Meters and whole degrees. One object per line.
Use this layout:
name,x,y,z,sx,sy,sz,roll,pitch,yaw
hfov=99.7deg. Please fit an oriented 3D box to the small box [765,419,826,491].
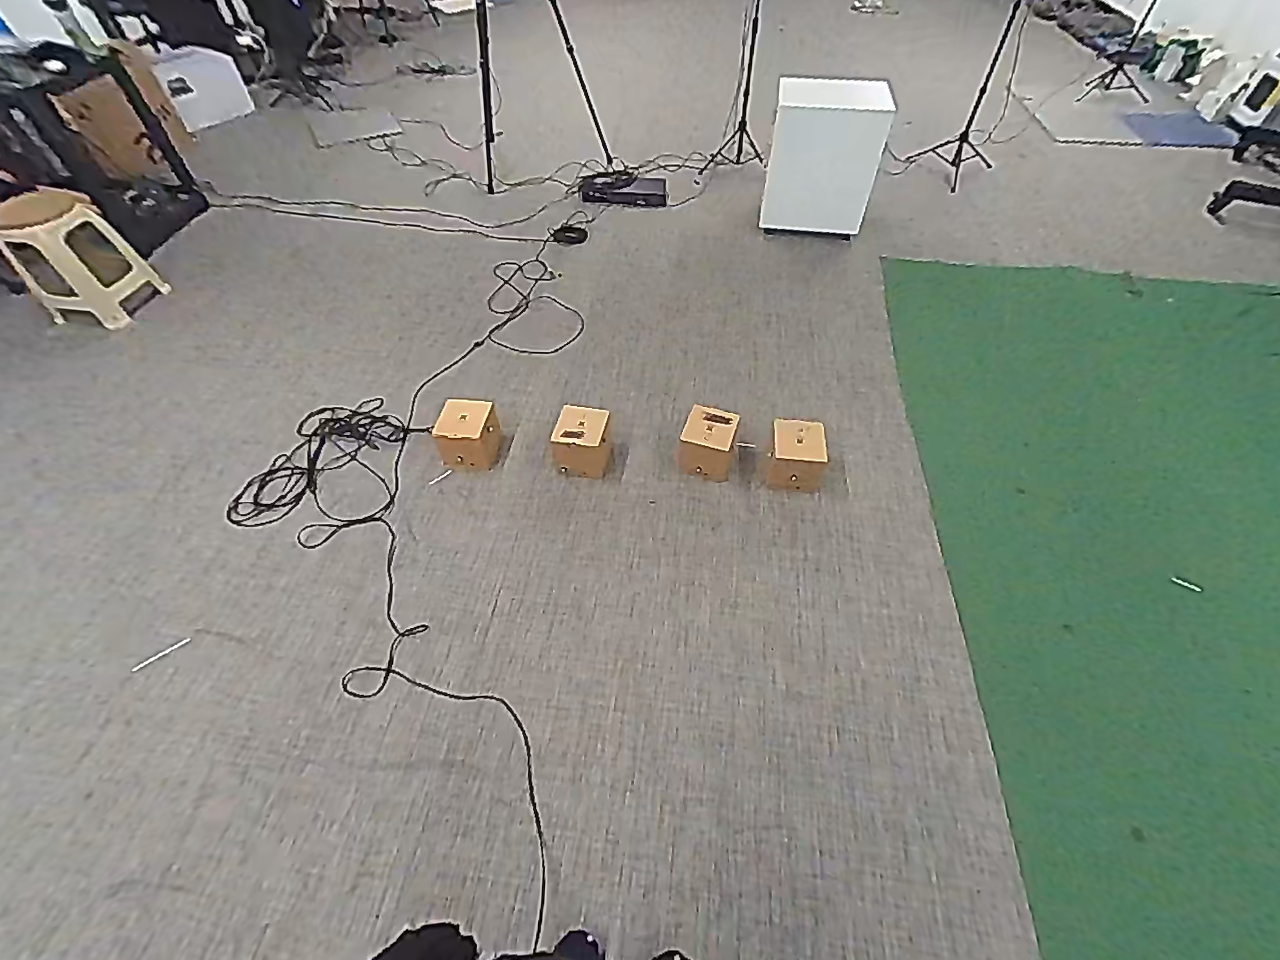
small box,0.520,-0.081,1.826,0.168,0.176,0.179,6,52,4

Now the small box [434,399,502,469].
small box,-0.596,-0.162,1.906,0.168,0.176,0.179,4,53,5

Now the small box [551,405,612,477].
small box,-0.195,-0.133,1.874,0.168,0.176,0.179,8,52,8
